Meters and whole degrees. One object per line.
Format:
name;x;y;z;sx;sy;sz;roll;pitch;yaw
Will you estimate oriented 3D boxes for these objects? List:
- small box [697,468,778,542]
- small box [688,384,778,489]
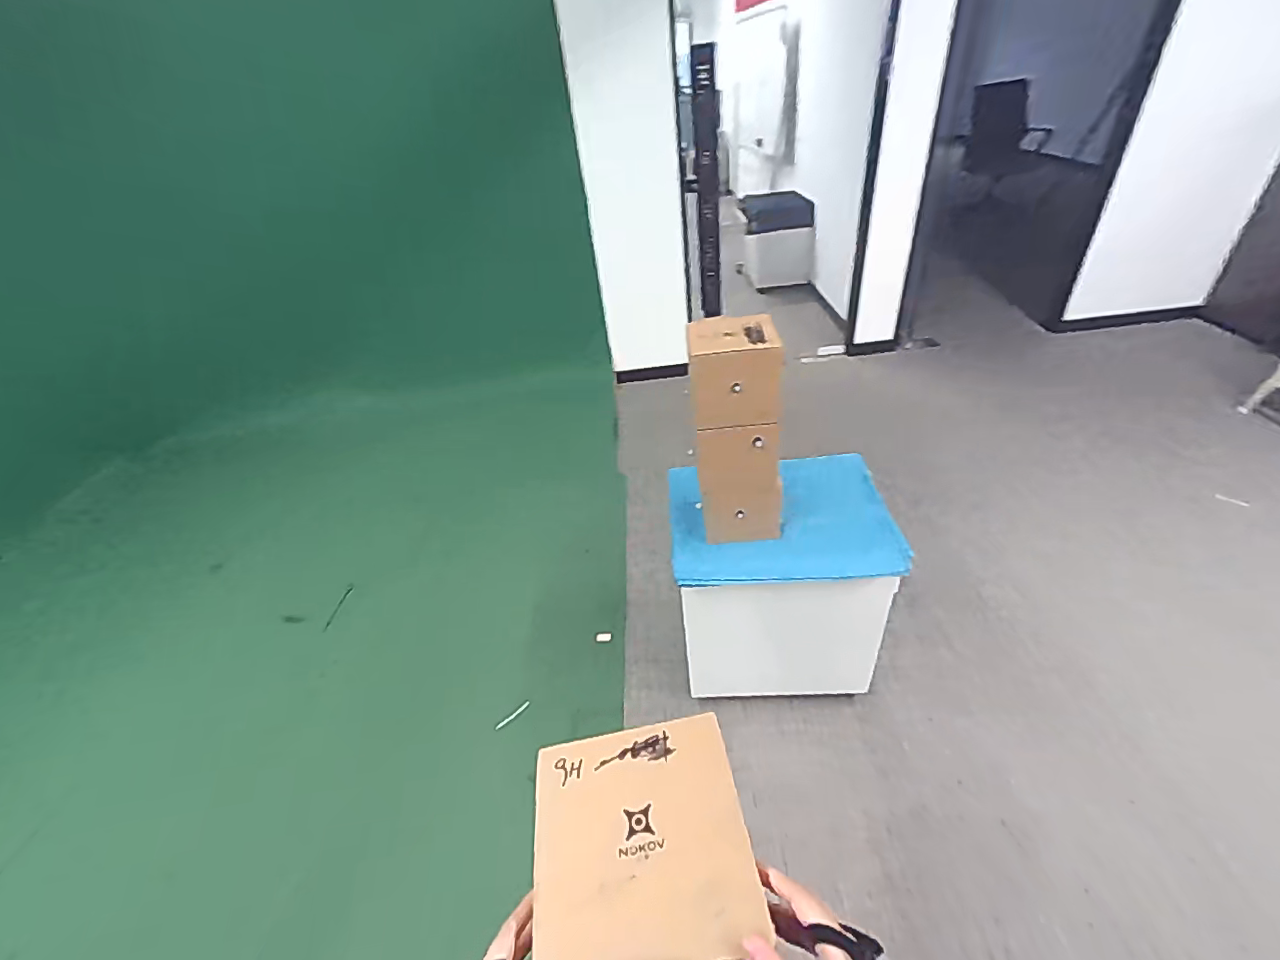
small box;0.228;0.032;1.310;0.179;0.176;0.168;-5;37;4
small box;0.202;-0.096;1.210;0.179;0.176;0.168;-5;37;4
